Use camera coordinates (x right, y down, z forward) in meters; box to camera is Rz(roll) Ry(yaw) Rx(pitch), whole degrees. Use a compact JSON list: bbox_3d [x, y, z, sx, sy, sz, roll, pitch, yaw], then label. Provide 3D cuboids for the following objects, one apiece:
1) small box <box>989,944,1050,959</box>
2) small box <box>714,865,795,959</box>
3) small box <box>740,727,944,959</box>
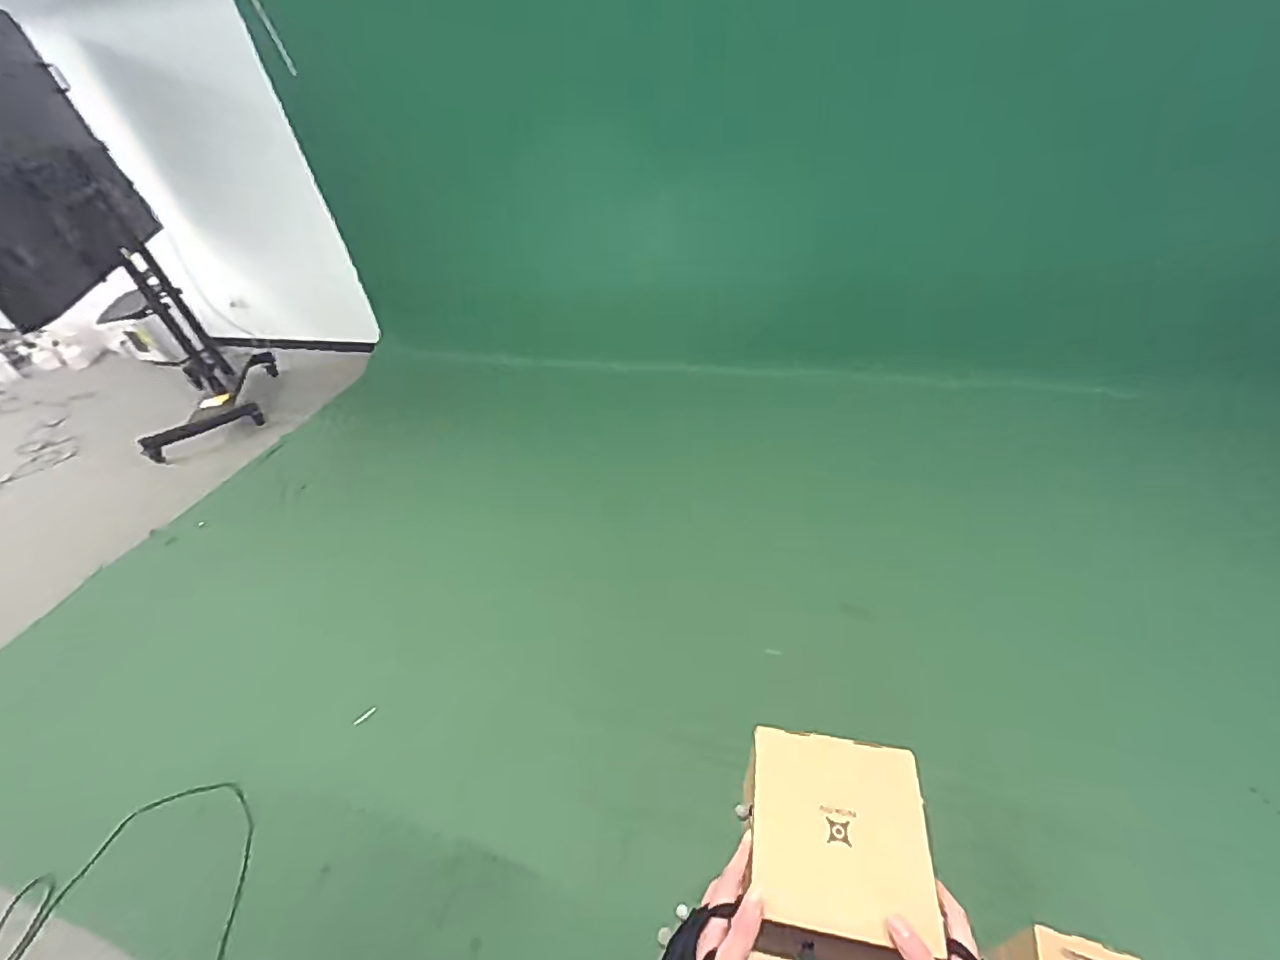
[{"bbox_3d":[0.787,1.056,1.049,0.168,0.176,0.179,9,43,20],"label":"small box"},{"bbox_3d":[0.264,1.006,1.205,0.168,0.176,0.179,6,43,18],"label":"small box"},{"bbox_3d":[0.198,0.399,0.579,0.168,0.176,0.179,5,41,11],"label":"small box"}]
